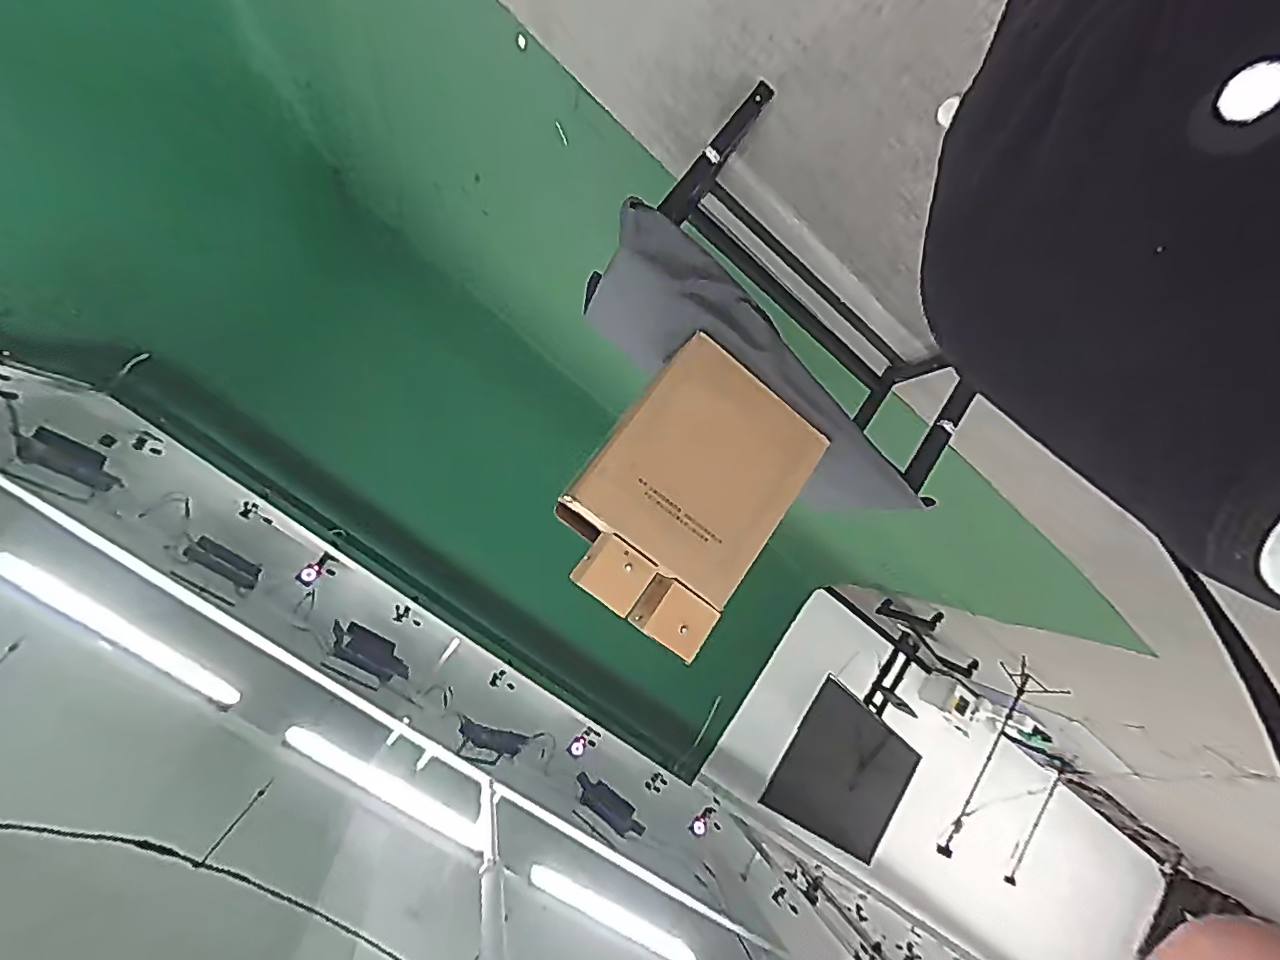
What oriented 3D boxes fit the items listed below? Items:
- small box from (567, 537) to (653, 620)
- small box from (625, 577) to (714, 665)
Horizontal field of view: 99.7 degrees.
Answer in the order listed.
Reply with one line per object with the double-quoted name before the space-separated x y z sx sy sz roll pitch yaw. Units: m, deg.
"small box" -0.086 0.276 1.561 0.168 0.176 0.179 39 166 -10
"small box" 0.088 0.408 1.590 0.179 0.176 0.168 37 167 -11
